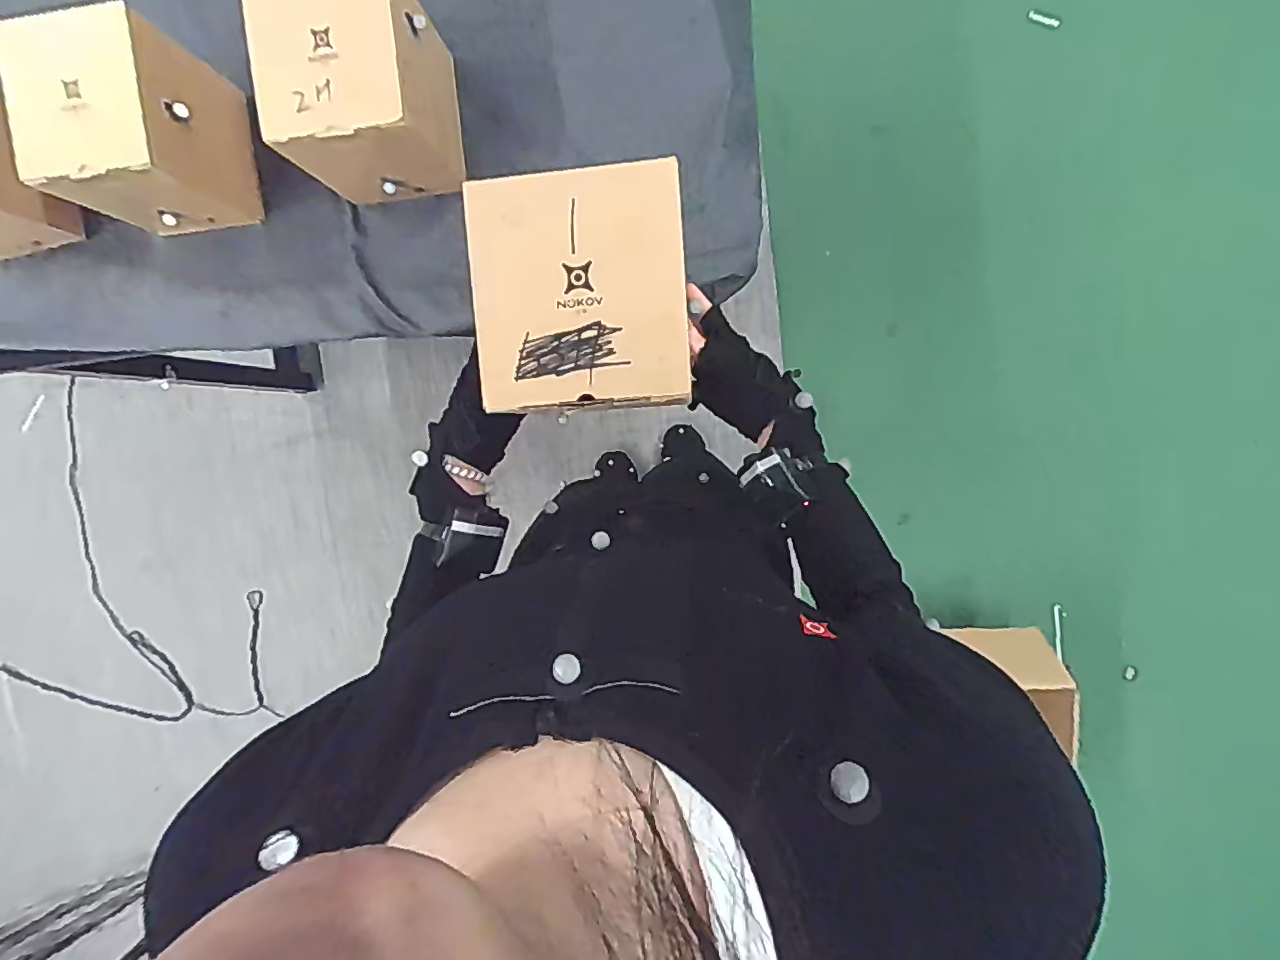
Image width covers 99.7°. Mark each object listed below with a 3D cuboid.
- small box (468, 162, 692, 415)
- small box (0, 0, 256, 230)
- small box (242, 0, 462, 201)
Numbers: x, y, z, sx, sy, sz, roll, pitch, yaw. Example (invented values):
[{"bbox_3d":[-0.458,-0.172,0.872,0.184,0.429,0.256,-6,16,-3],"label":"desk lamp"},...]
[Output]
[{"bbox_3d":[-0.038,-0.152,0.492,0.168,0.176,0.179,-4,96,5],"label":"small box"},{"bbox_3d":[-0.626,-0.438,0.675,0.168,0.176,0.179,-5,96,4],"label":"small box"},{"bbox_3d":[-0.330,-0.466,0.650,0.168,0.176,0.179,-4,96,5],"label":"small box"}]
